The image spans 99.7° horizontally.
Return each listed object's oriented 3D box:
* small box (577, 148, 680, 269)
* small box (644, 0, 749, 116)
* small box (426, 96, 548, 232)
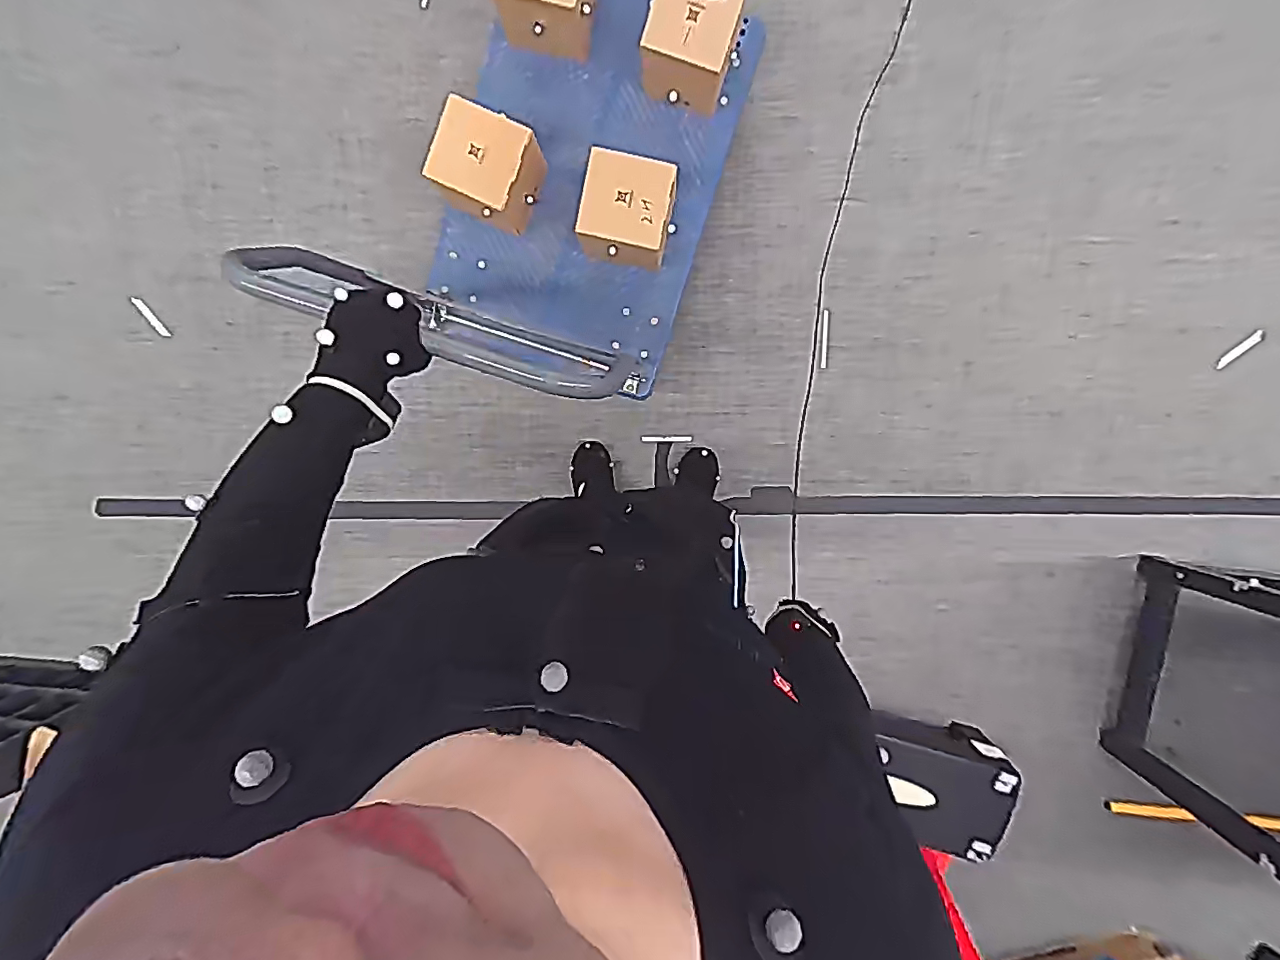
[{"bbox_3d":[-0.021,-0.565,1.149,0.179,0.176,0.168,13,98,0],"label":"small box"},{"bbox_3d":[0.111,-0.896,1.100,0.168,0.176,0.179,19,99,-1],"label":"small box"},{"bbox_3d":[-0.315,-0.654,1.146,0.179,0.176,0.168,22,98,-2],"label":"small box"}]
